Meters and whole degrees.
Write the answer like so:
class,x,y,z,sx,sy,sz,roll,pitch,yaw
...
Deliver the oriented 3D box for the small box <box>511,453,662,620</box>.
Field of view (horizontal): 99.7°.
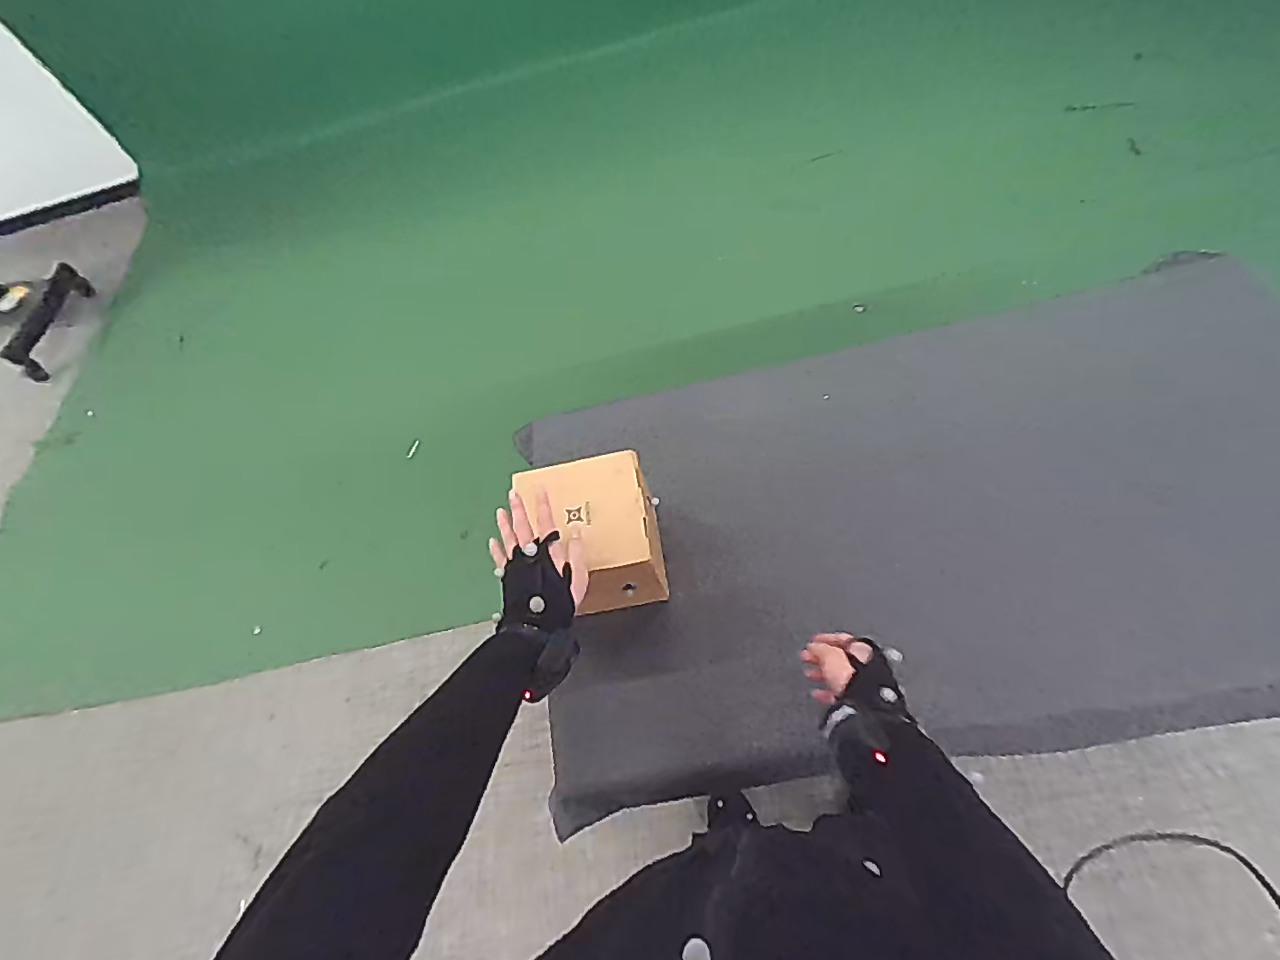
class,x,y,z,sx,sy,sz,roll,pitch,yaw
small box,-0.067,0.086,0.761,0.179,0.176,0.168,-10,58,5
